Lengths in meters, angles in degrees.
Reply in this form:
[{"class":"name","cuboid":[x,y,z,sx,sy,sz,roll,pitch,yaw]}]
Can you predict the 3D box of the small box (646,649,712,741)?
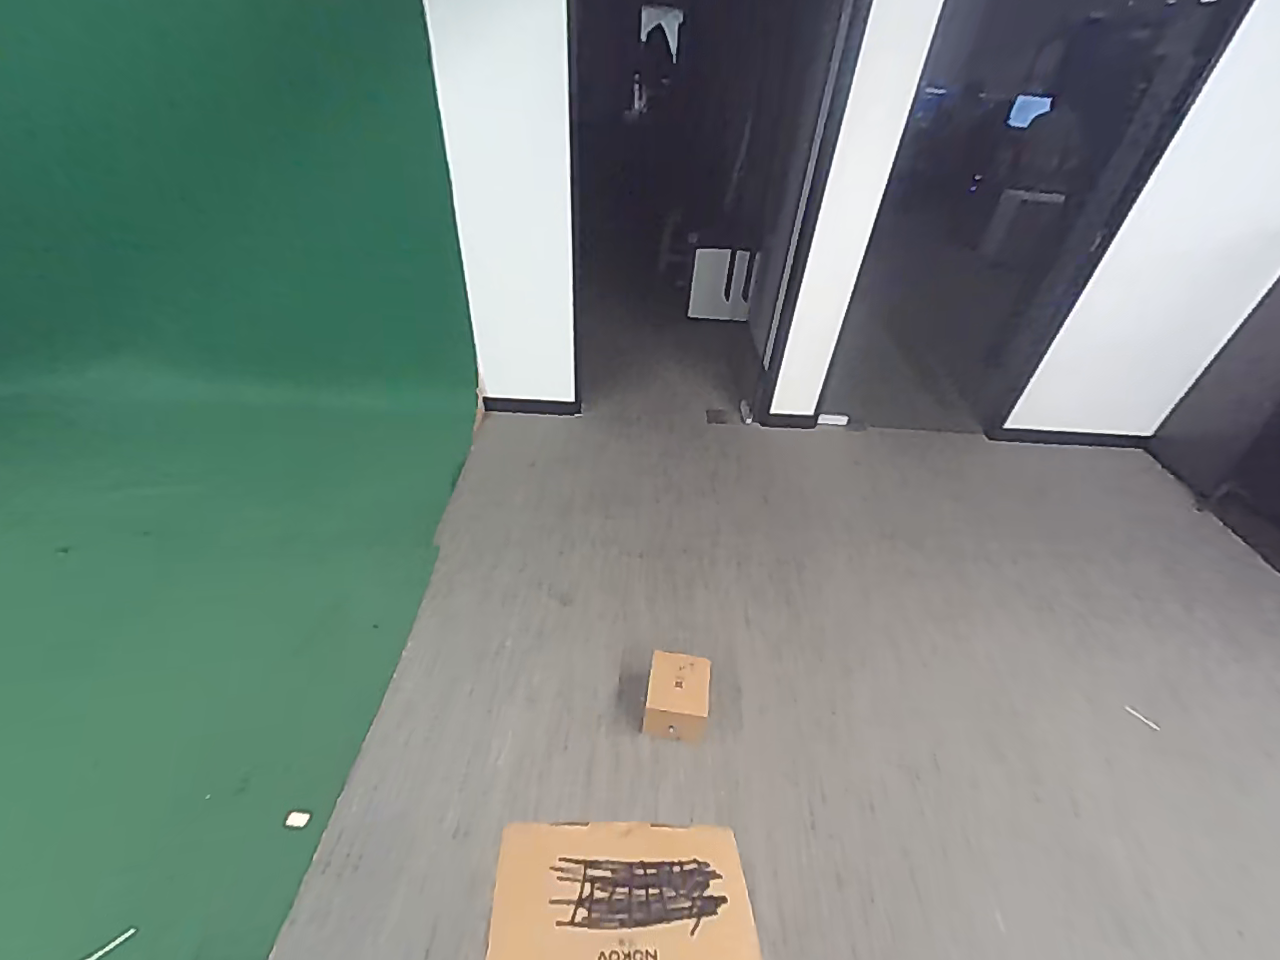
[{"class":"small box","cuboid":[0.109,0.610,1.525,0.168,0.176,0.179,8,40,4]}]
